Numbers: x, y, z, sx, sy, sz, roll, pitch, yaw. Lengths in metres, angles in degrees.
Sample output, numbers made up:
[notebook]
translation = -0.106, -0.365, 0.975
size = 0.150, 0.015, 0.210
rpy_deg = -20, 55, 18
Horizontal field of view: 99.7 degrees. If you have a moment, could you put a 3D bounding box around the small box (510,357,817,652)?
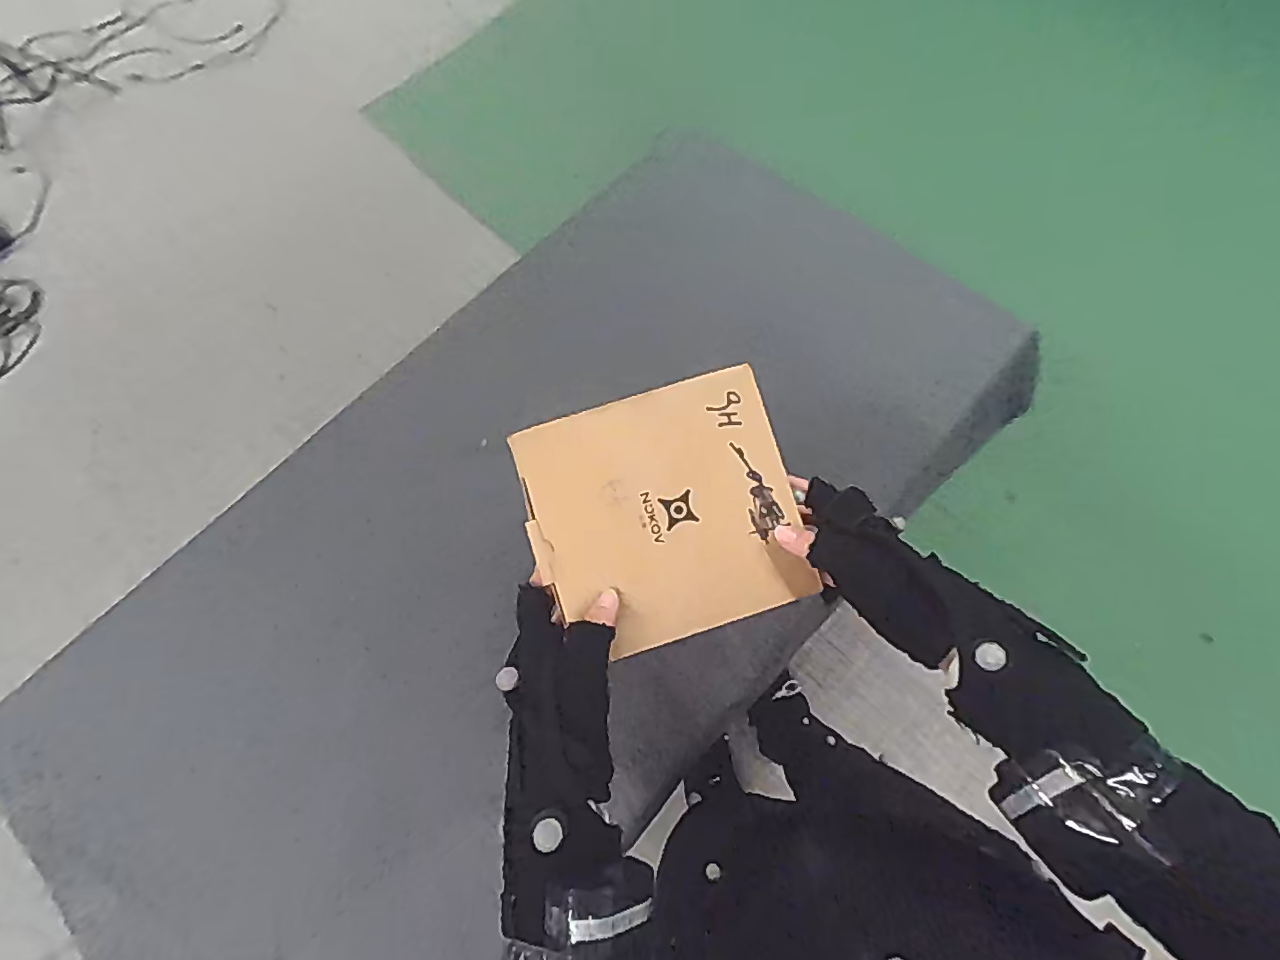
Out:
[small box]
translation = 0.014, 0.025, 0.452
size = 0.179, 0.176, 0.168
rpy_deg = -19, 83, -4
